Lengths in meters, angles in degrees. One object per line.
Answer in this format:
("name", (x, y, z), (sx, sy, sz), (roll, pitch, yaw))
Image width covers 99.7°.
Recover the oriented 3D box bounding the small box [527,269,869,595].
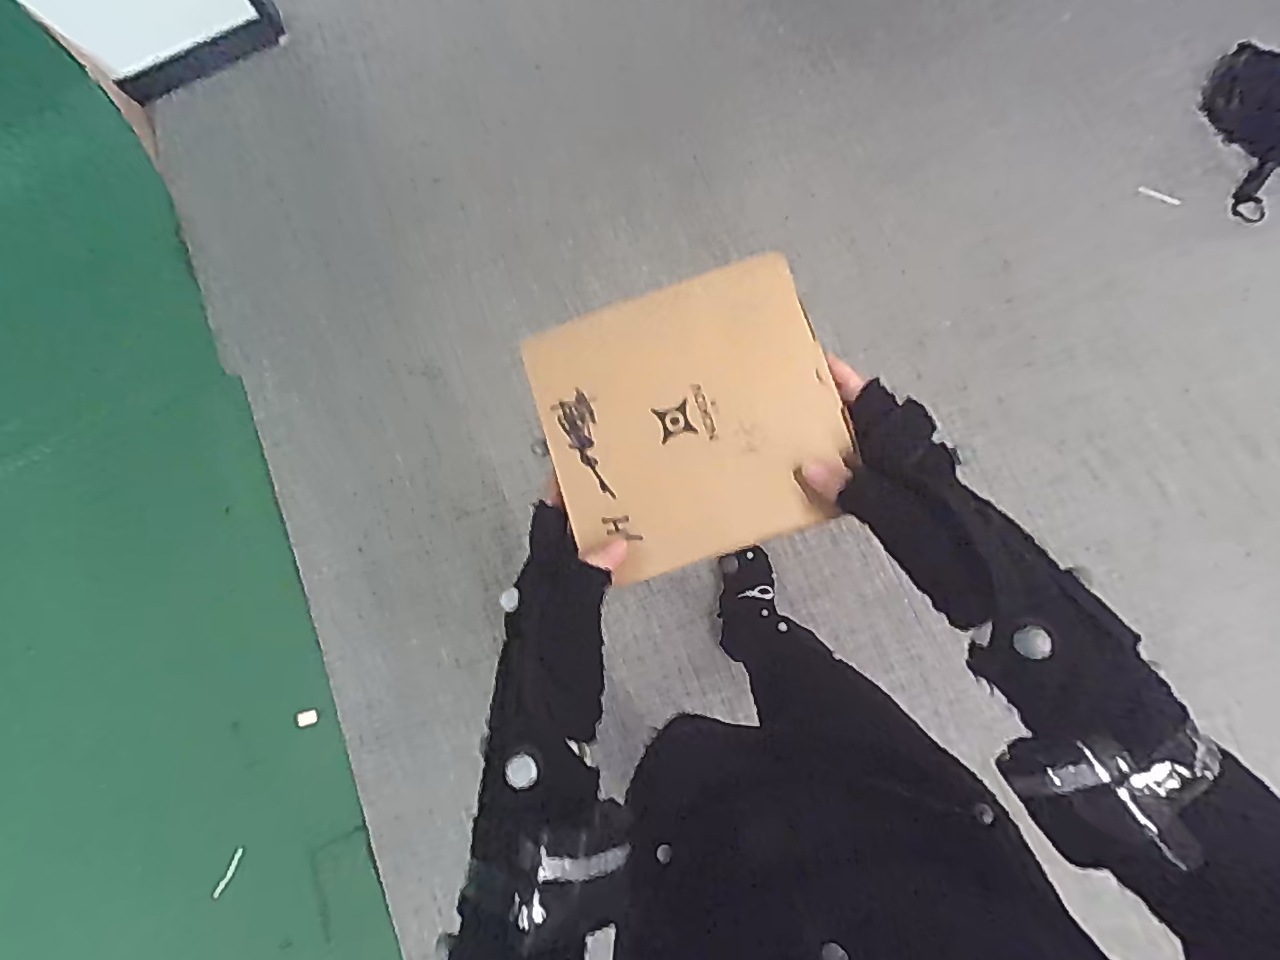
("small box", (0.038, -0.022, 0.410), (0.179, 0.176, 0.168), (-18, 81, 4))
